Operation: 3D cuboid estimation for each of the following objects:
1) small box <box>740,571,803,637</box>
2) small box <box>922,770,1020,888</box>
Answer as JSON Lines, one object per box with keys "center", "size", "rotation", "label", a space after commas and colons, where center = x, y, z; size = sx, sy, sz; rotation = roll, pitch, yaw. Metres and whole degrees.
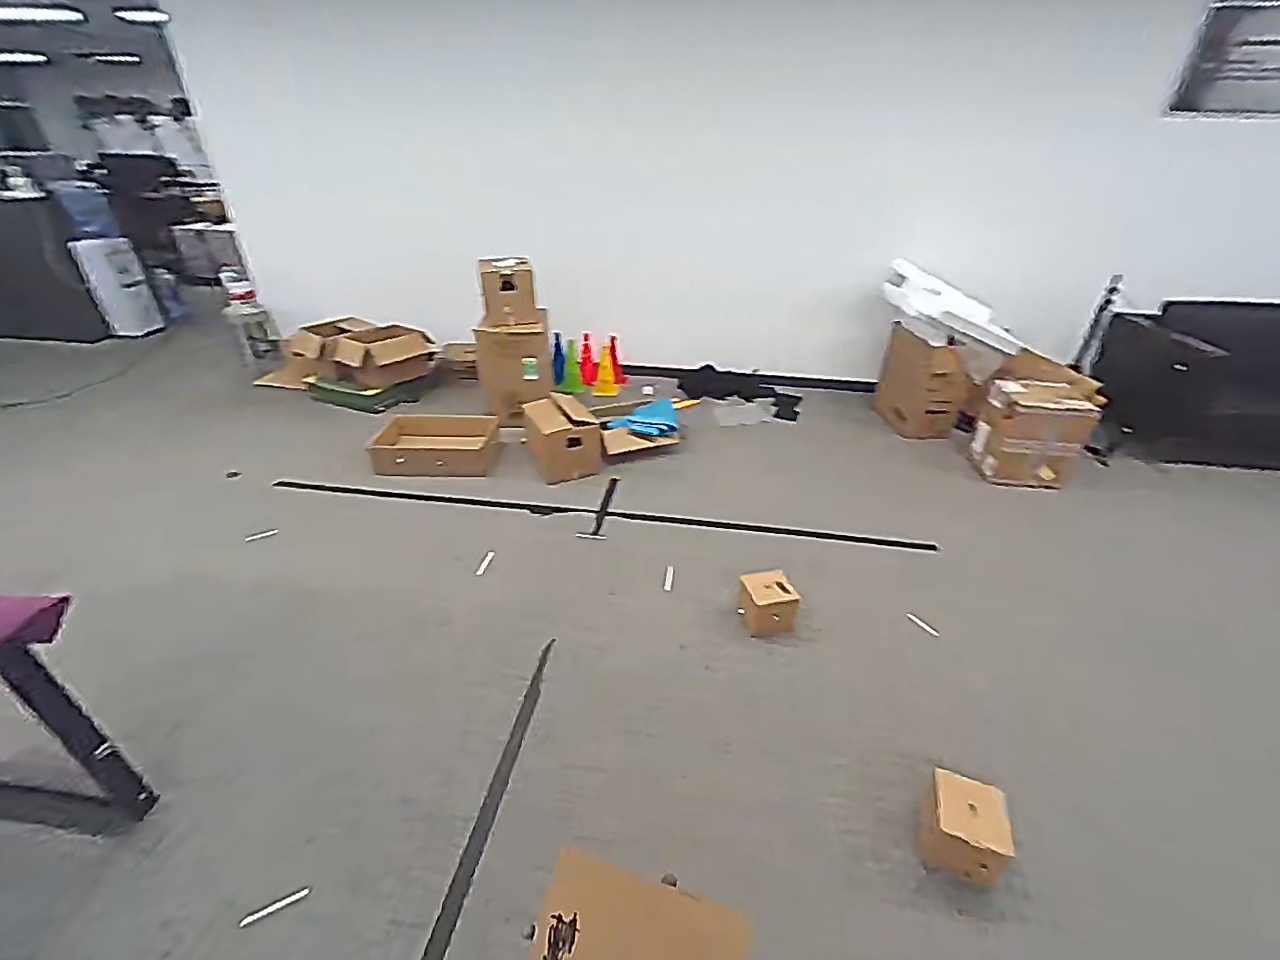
{"center": [0.498, 0.479, 2.078], "size": [0.179, 0.176, 0.168], "rotation": [-7, 32, -12], "label": "small box"}
{"center": [0.848, 0.906, 1.402], "size": [0.168, 0.176, 0.179], "rotation": [14, 33, 16], "label": "small box"}
